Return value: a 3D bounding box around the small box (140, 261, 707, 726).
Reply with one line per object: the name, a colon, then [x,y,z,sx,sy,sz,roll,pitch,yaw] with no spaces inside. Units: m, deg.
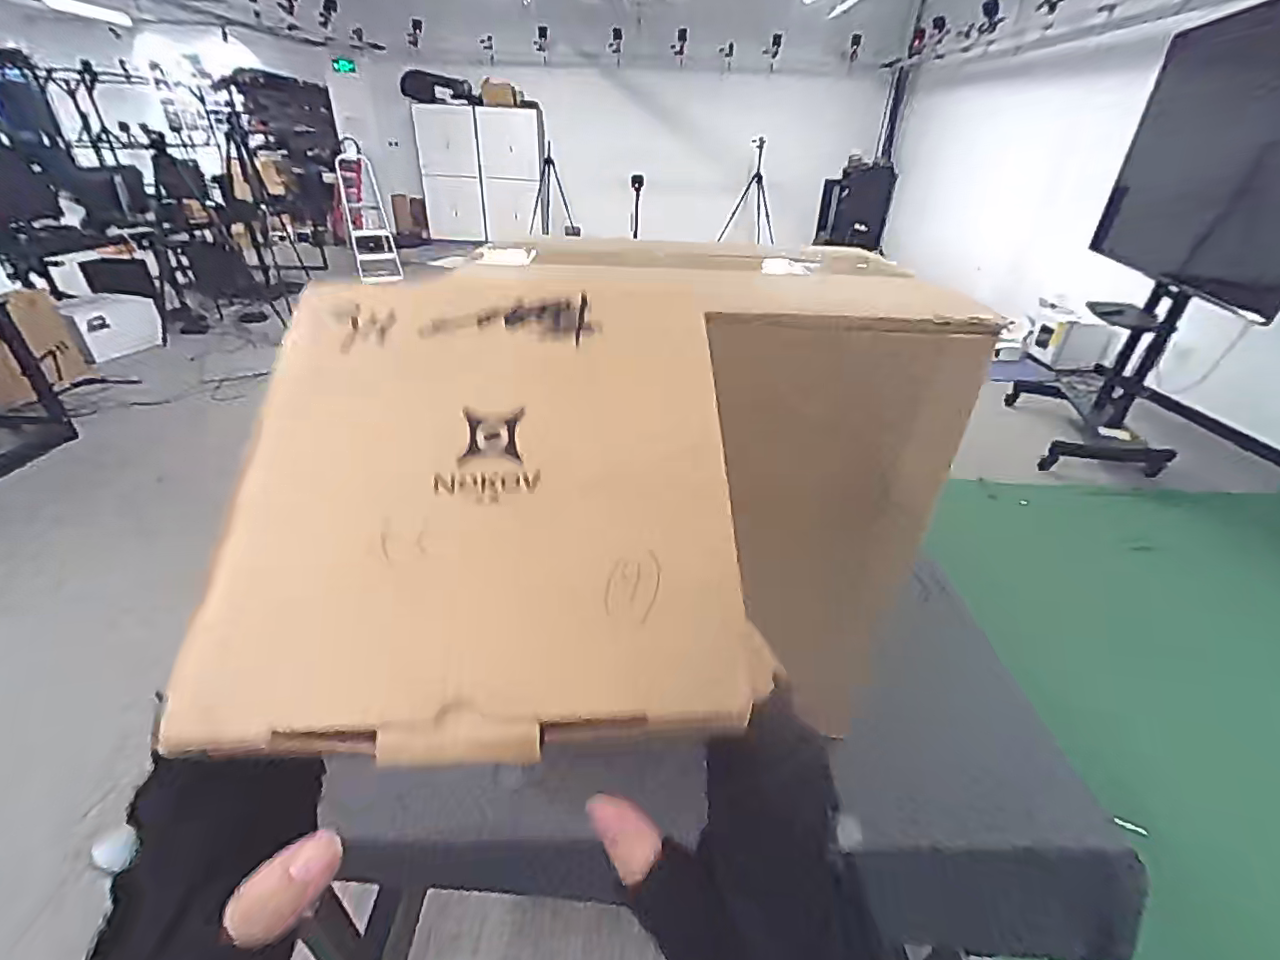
small box: [-0.062,0.022,0.261,0.168,0.176,0.179,0,63,-2]
